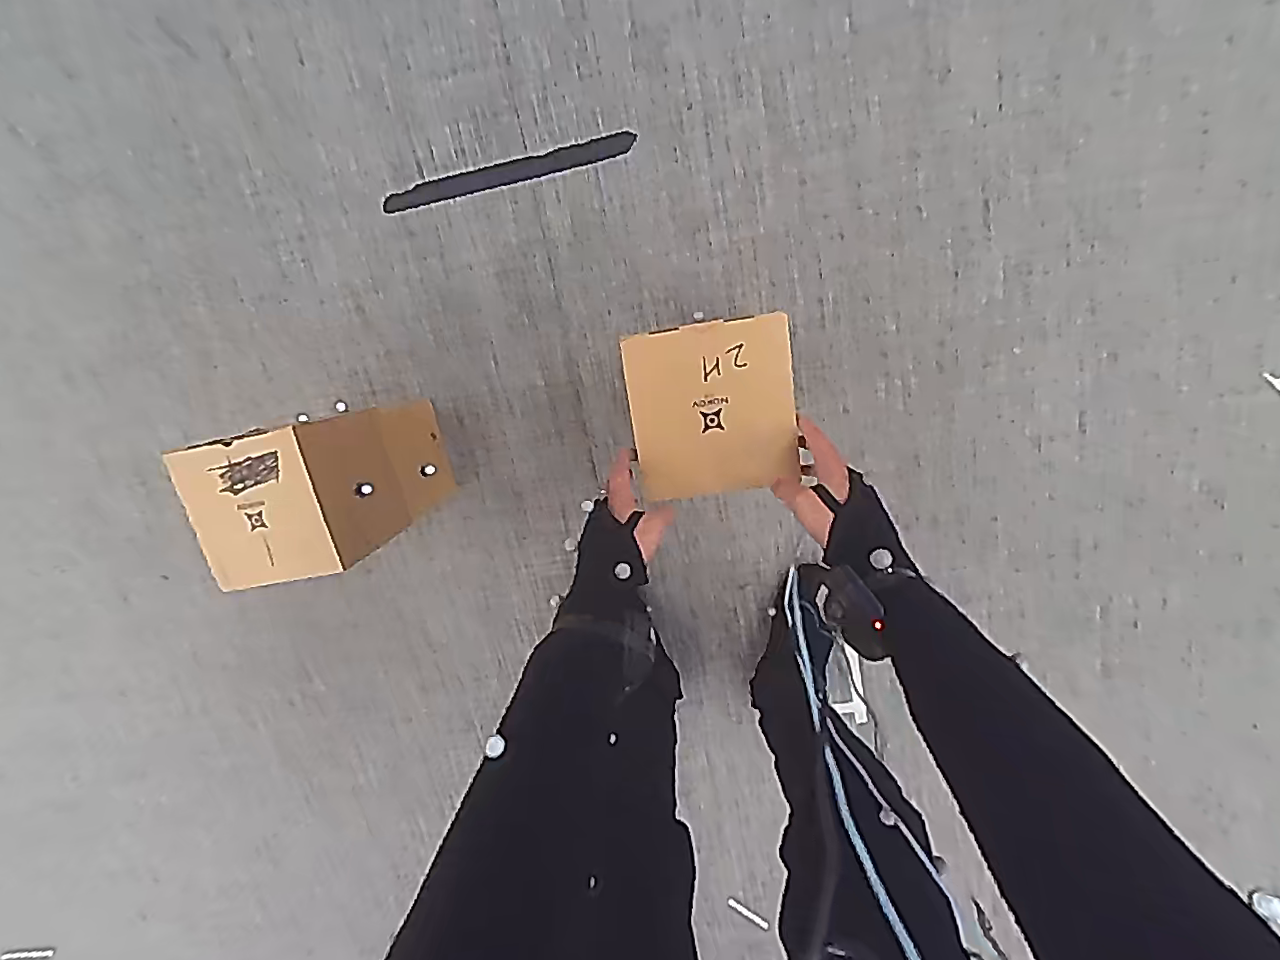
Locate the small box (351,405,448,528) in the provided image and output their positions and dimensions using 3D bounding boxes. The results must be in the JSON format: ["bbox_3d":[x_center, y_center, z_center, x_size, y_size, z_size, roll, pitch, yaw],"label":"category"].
[{"bbox_3d":[-0.422,-0.016,0.847,0.179,0.176,0.168,-10,104,7],"label":"small box"}]

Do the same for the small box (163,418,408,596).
[{"bbox_3d":[-0.429,0.023,0.687,0.168,0.176,0.179,-10,105,7],"label":"small box"}]

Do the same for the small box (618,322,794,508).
[{"bbox_3d":[0.075,-0.082,0.624,0.168,0.176,0.179,-7,104,6],"label":"small box"}]
